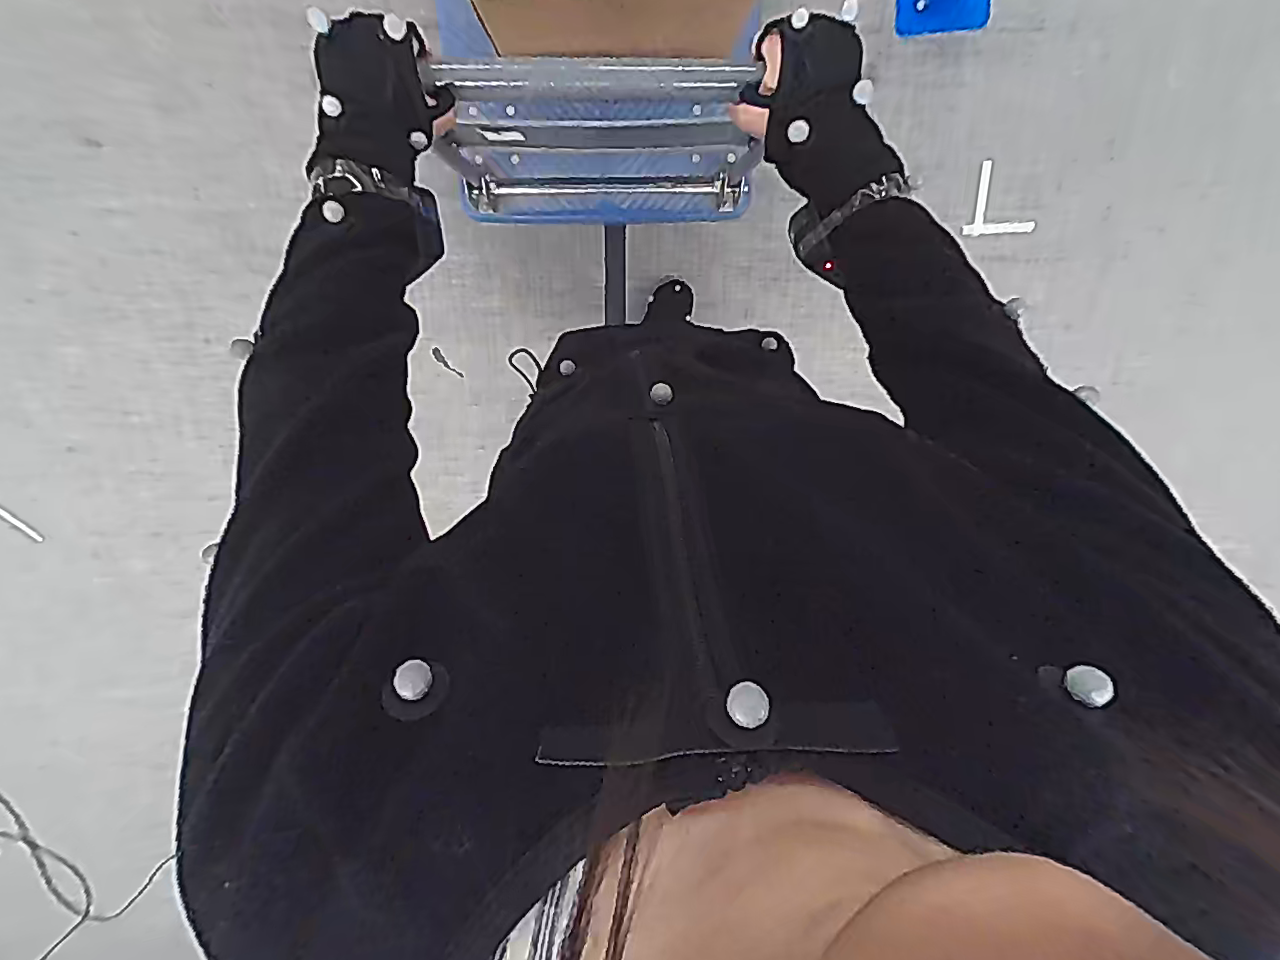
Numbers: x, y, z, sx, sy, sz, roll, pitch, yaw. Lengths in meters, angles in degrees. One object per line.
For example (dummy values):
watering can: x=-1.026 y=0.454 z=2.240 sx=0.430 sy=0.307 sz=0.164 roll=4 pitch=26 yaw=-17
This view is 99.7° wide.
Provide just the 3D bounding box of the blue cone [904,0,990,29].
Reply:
blue cone: x=0.644 y=-0.990 z=0.954 sx=0.193 sy=0.380 sz=0.192 roll=-4 pitch=110 yaw=-1
